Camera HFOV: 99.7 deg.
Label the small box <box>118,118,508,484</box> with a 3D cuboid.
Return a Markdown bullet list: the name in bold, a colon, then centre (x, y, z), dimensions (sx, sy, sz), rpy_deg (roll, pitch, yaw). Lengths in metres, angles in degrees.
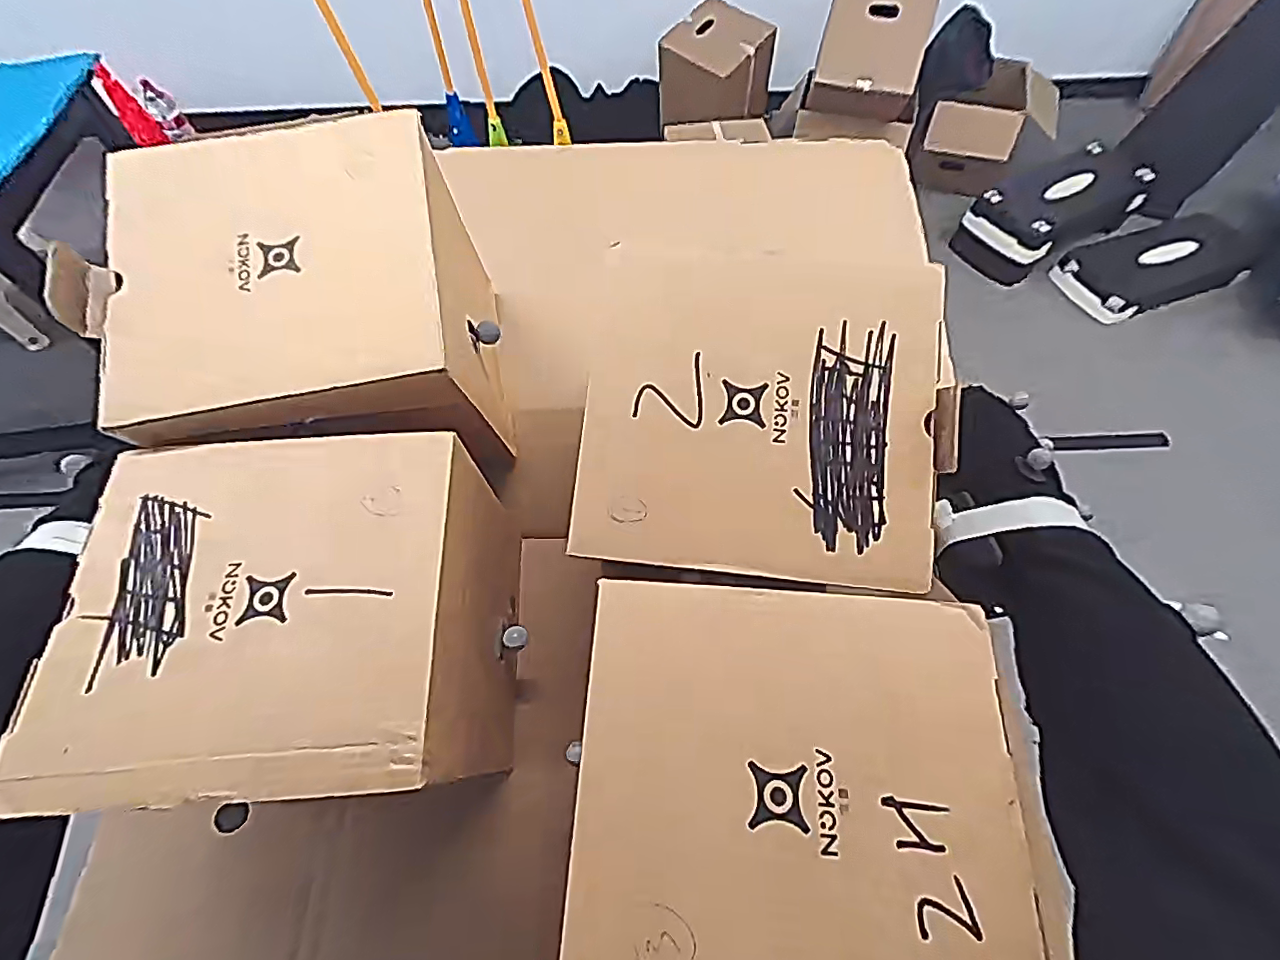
- **small box**: centre (-0.199, -0.104, 0.378), dimensions (0.179, 0.176, 0.168), rpy_deg (-11, 77, -1)
